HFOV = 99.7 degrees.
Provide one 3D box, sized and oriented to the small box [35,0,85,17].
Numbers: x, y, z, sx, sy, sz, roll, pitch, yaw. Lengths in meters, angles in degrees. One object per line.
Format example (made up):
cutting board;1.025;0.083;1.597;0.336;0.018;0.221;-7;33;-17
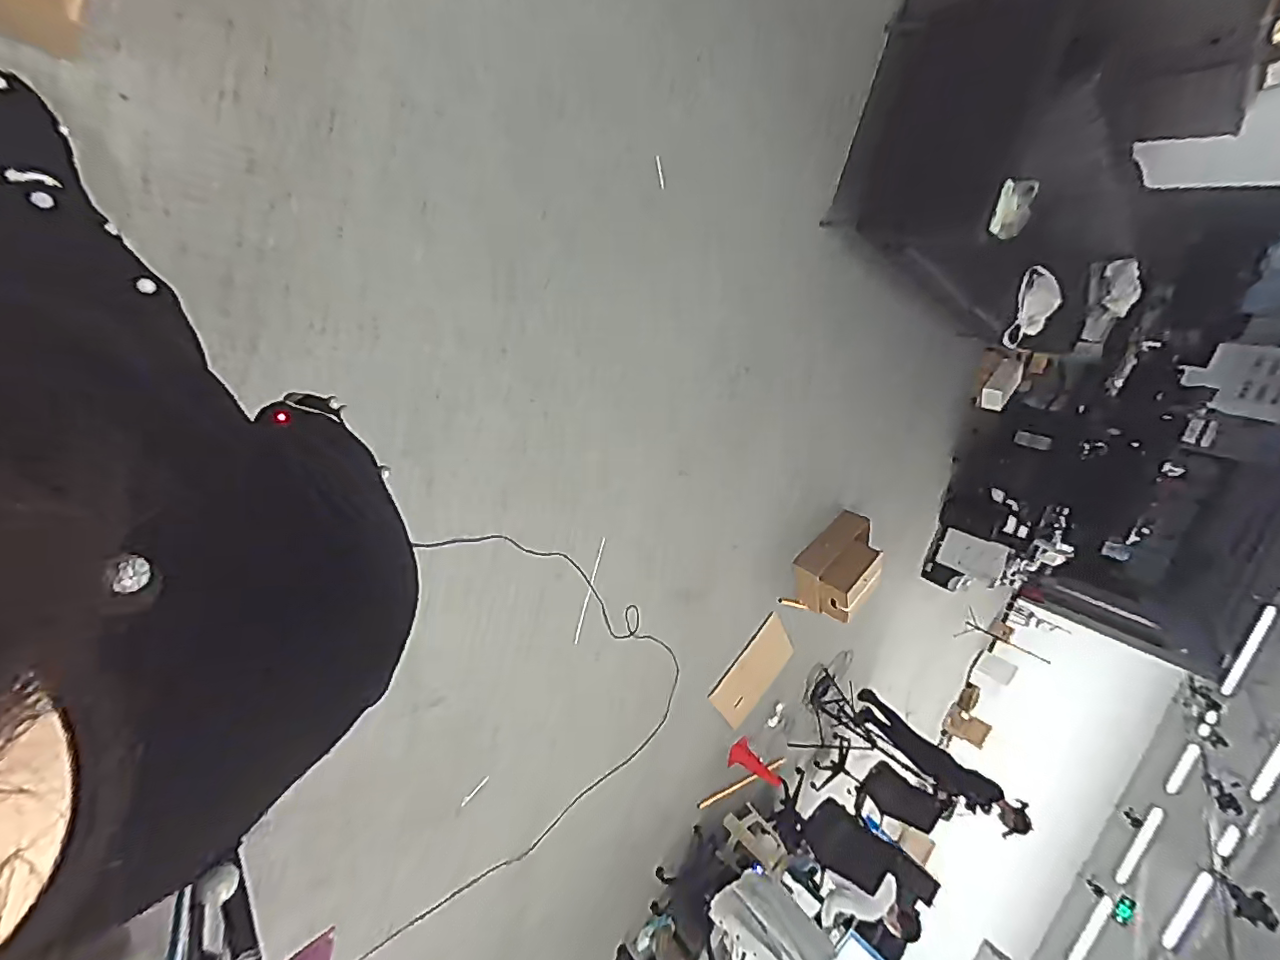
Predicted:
small box;-0.713;-0.669;0.594;0.168;0.176;0.179;14;98;-48
